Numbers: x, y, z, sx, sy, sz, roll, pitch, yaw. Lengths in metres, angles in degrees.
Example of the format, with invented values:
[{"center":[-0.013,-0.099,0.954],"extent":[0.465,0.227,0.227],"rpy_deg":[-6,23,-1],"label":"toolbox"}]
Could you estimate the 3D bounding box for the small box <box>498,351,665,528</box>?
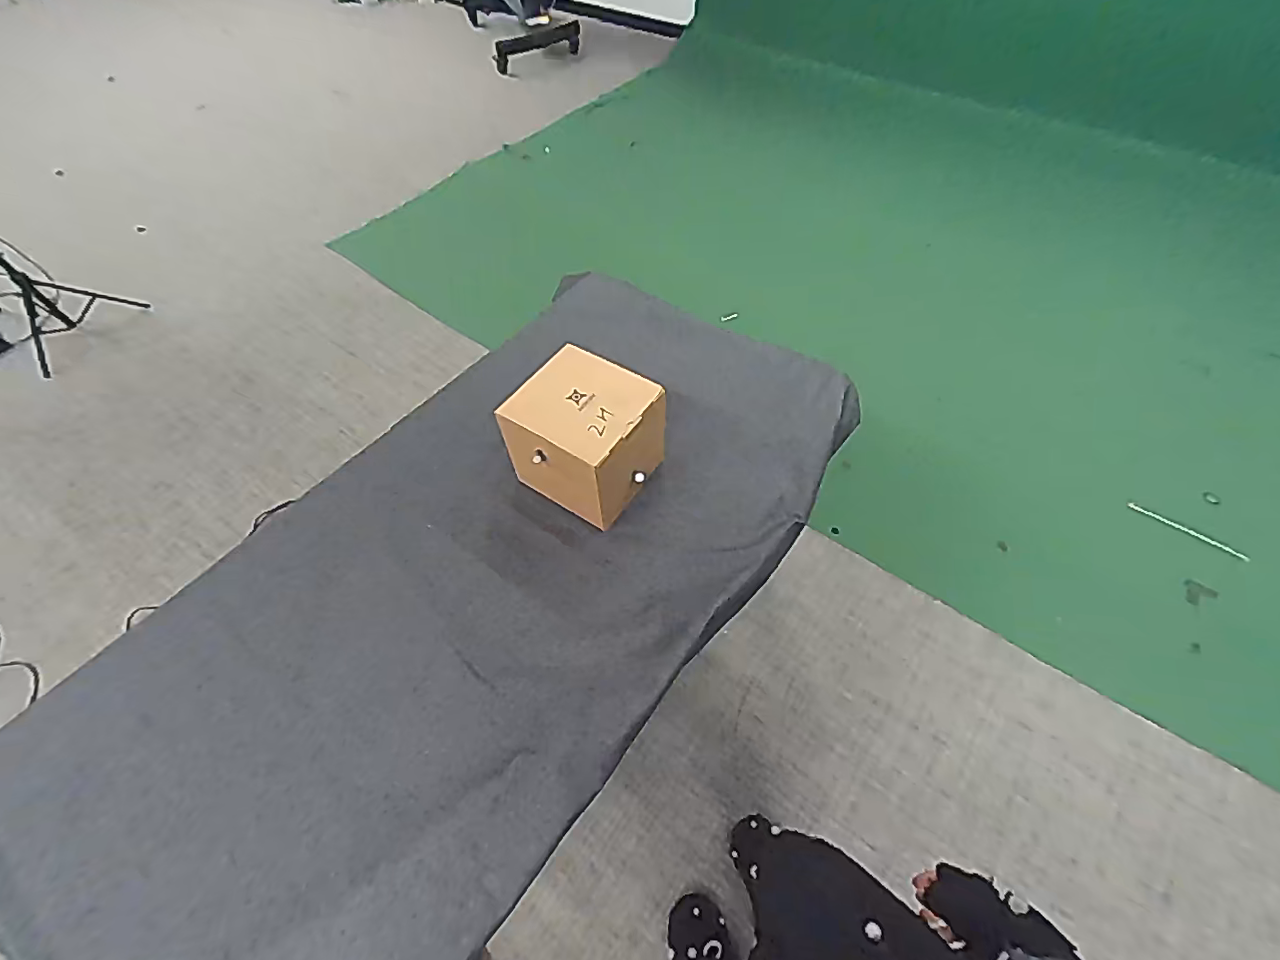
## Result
[{"center":[-0.079,-0.056,0.812],"extent":[0.179,0.176,0.168],"rpy_deg":[29,61,19],"label":"small box"}]
